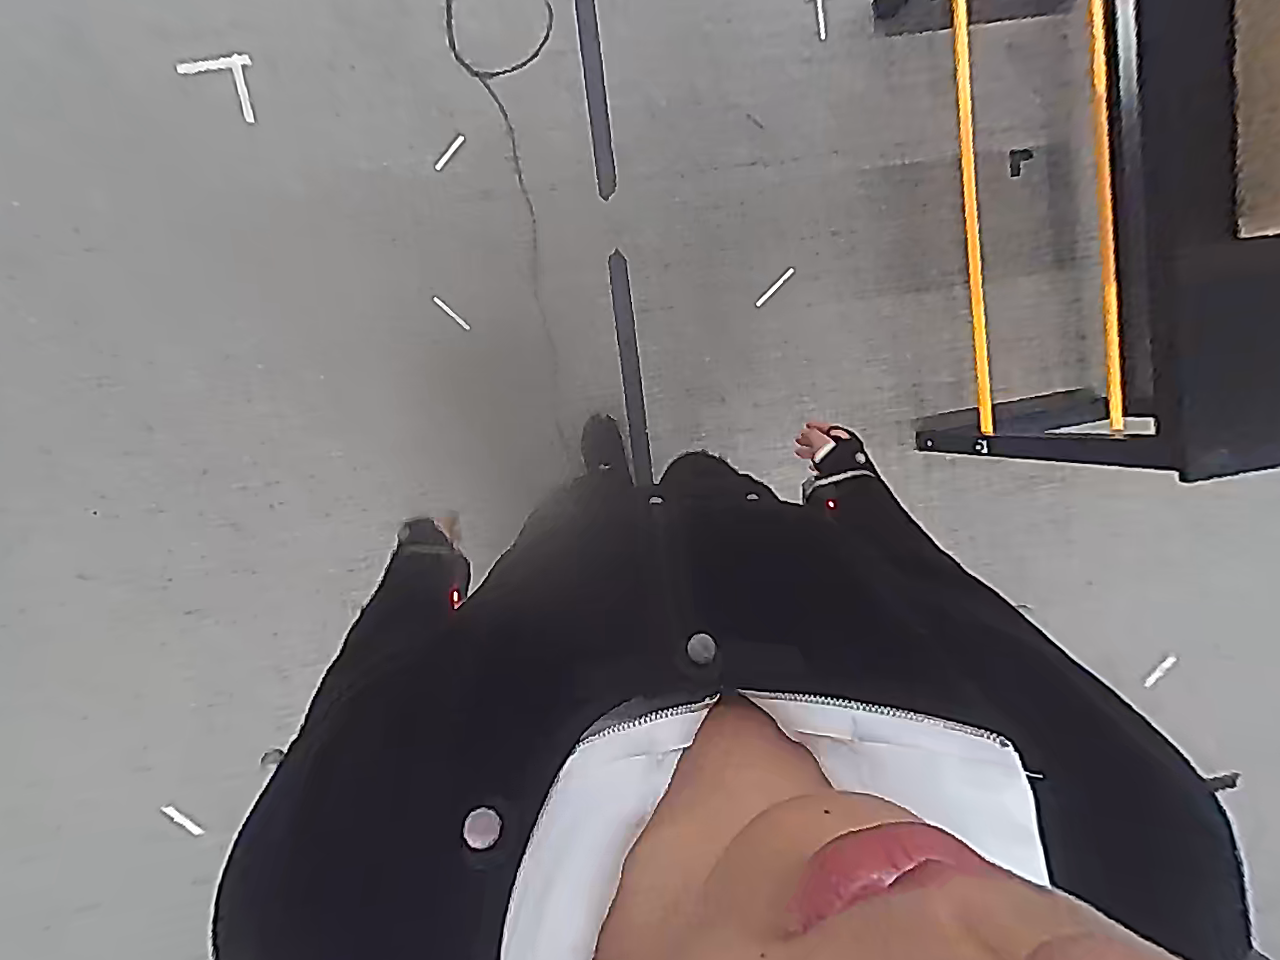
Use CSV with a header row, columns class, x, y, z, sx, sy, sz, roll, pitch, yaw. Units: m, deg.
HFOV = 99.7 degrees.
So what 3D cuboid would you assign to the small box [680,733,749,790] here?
class,x,y,z,sx,sy,sz,roll,pitch,yaw
small box,0.219,0.849,1.510,0.168,0.176,0.179,-16,96,-3
